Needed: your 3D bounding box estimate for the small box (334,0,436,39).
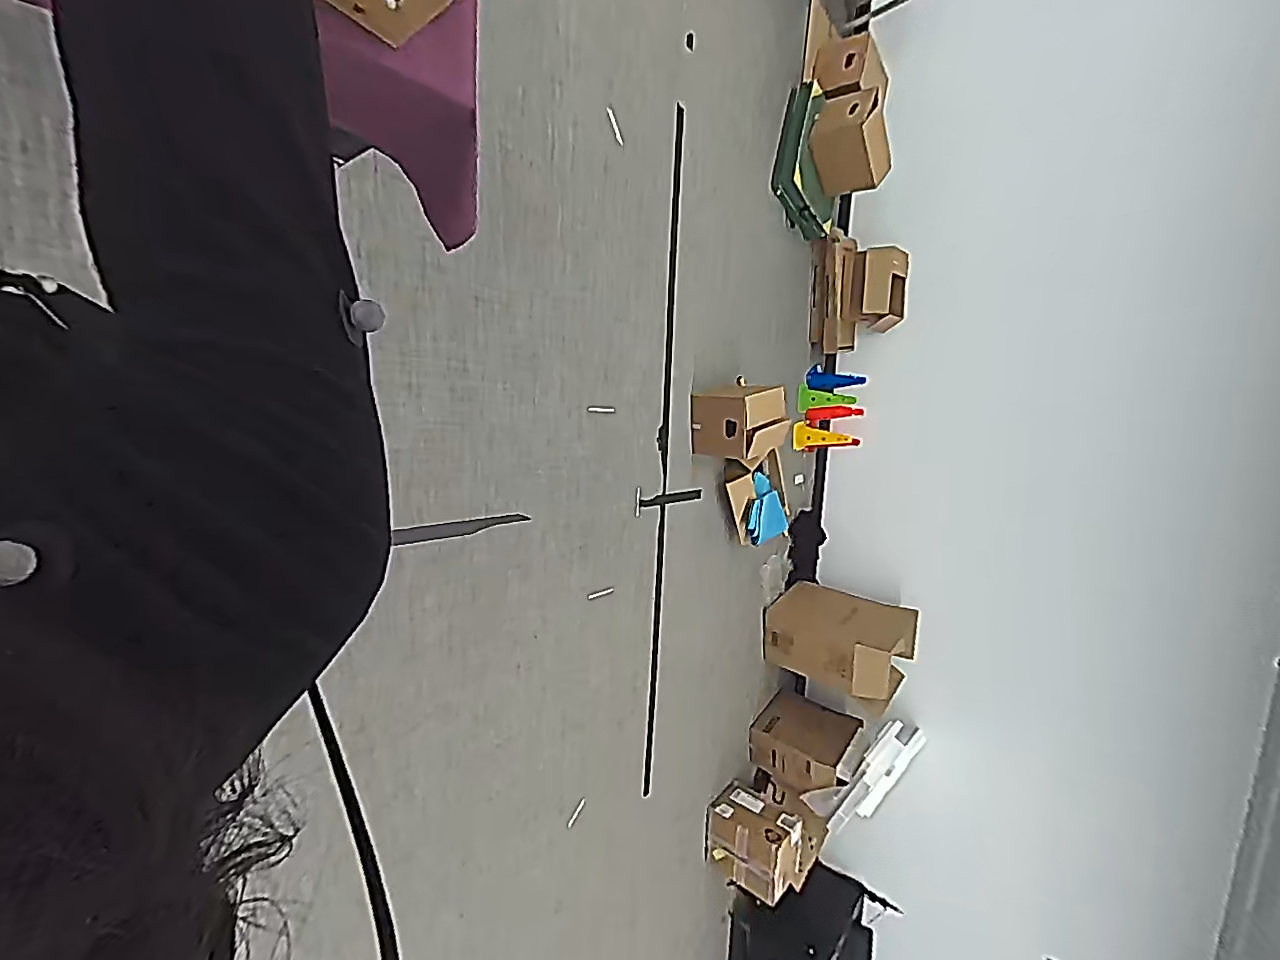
[{"bbox_3d":[-0.328,-0.690,0.646,0.168,0.176,0.179,7,91,-53],"label":"small box"}]
